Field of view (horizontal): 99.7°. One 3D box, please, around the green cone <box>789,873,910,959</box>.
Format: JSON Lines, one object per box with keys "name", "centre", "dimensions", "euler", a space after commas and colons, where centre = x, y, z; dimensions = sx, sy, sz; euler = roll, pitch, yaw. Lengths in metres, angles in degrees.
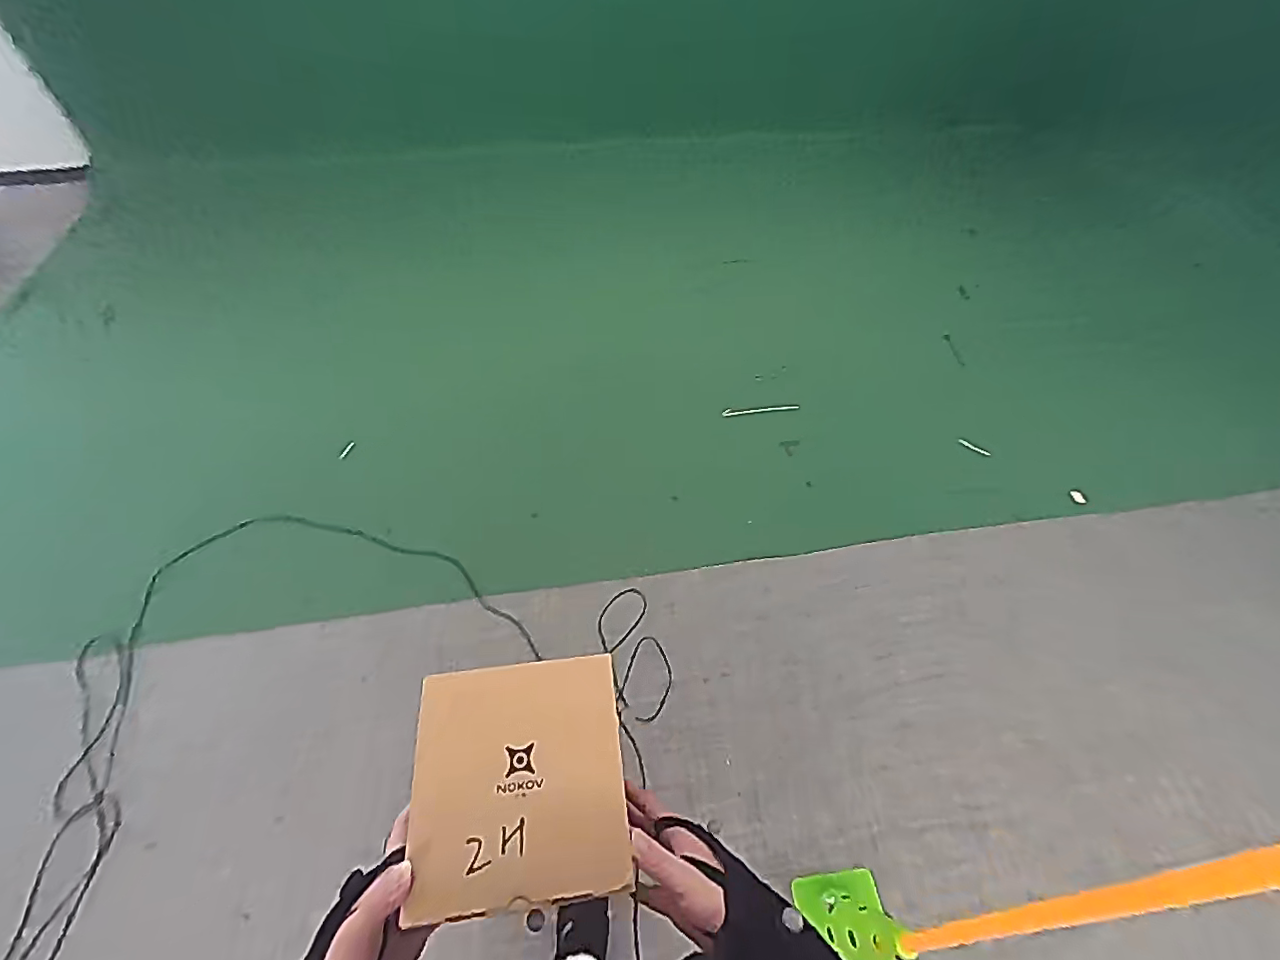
{"name": "green cone", "centre": [0.459, 0.927, 1.094], "dimensions": [0.202, 0.368, 0.200], "euler": [-6, 54, -4]}
